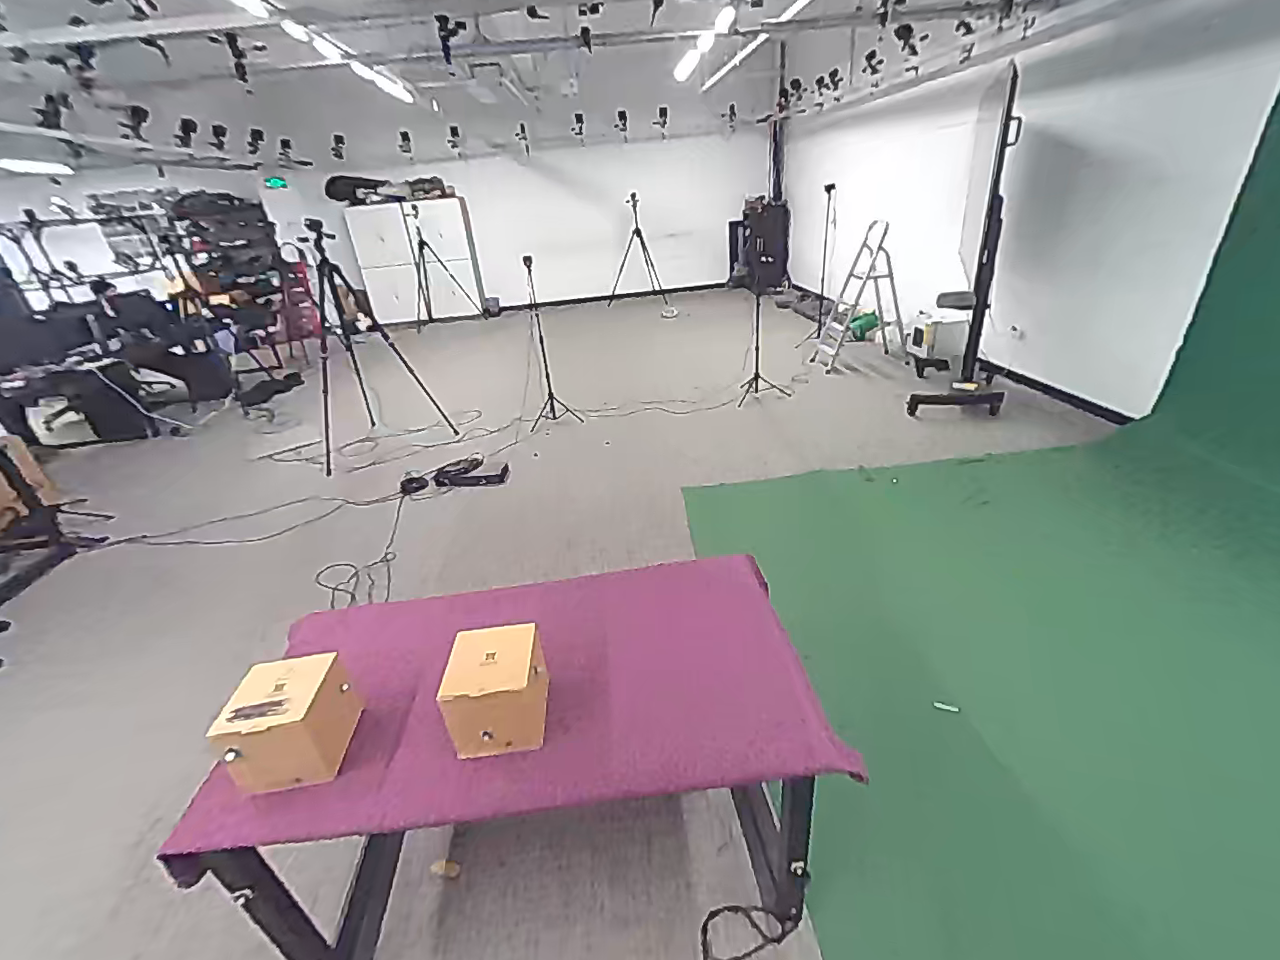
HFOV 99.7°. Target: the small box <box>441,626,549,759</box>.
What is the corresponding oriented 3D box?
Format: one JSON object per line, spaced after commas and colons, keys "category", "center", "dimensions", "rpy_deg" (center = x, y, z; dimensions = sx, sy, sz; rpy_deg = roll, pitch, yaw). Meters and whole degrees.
{"category": "small box", "center": [-0.280, 0.423, 1.087], "dimensions": [0.168, 0.176, 0.179], "rpy_deg": [-6, 28, -2]}
